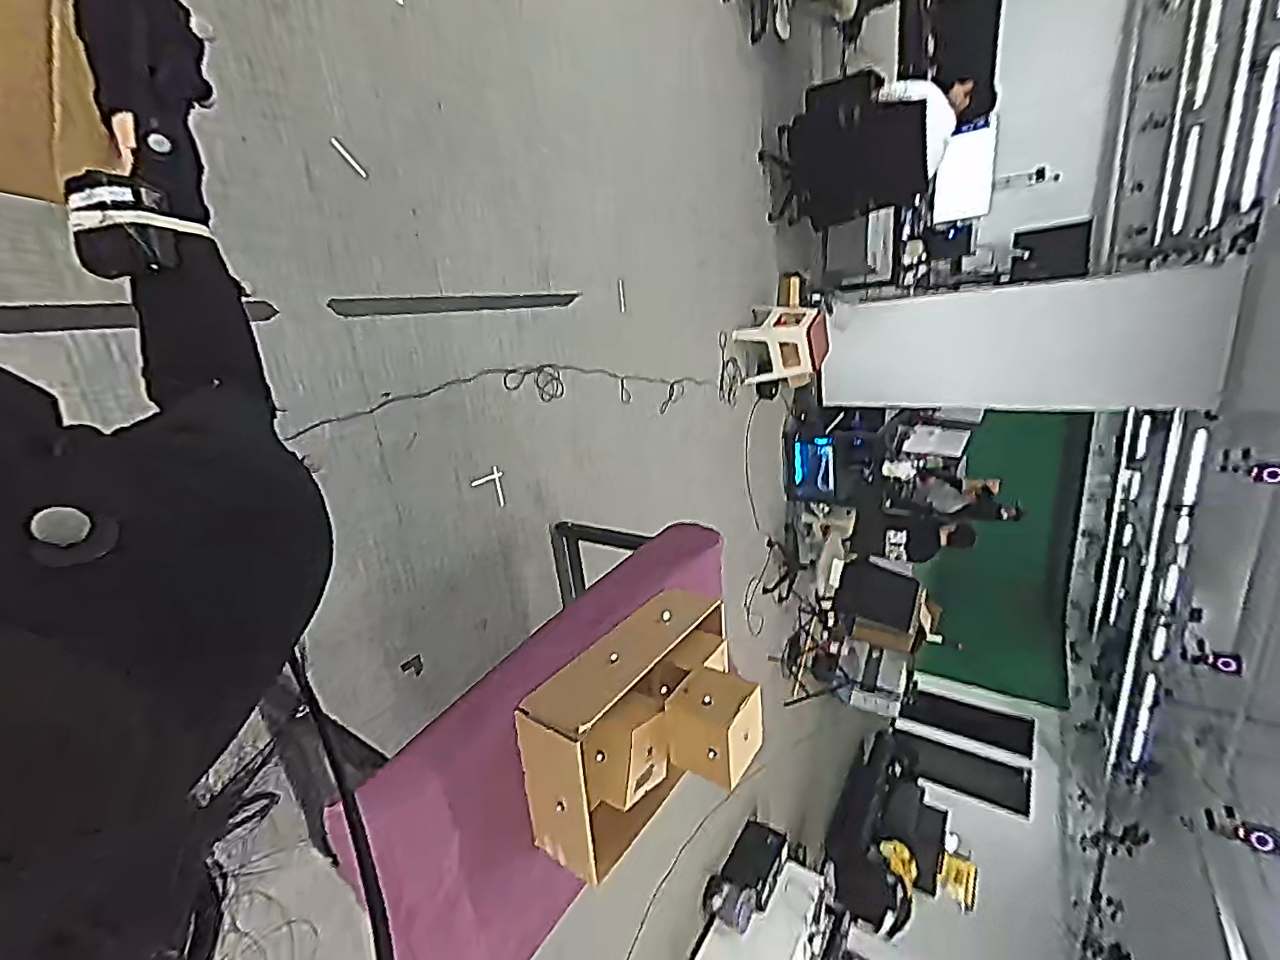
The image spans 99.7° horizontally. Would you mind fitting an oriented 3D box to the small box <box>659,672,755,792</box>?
[{"bbox_3d":[0.157,0.576,1.269,0.168,0.176,0.179,-27,118,-49],"label":"small box"}]
